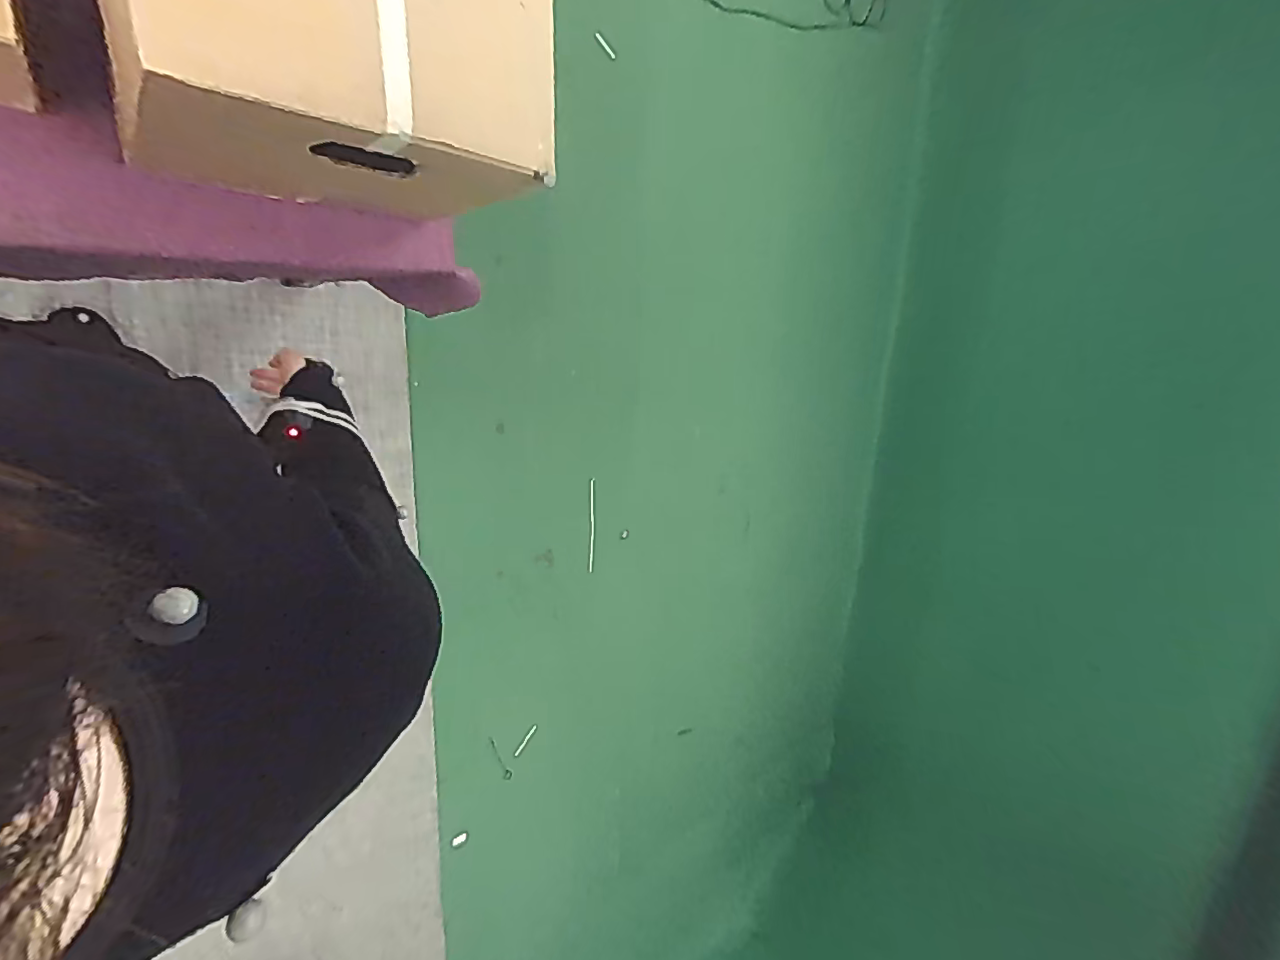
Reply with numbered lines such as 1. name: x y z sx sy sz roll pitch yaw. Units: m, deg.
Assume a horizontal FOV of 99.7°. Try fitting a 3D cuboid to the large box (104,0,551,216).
1. large box: -0.301 -0.508 0.507 0.320 0.320 0.408 -12 110 -43
